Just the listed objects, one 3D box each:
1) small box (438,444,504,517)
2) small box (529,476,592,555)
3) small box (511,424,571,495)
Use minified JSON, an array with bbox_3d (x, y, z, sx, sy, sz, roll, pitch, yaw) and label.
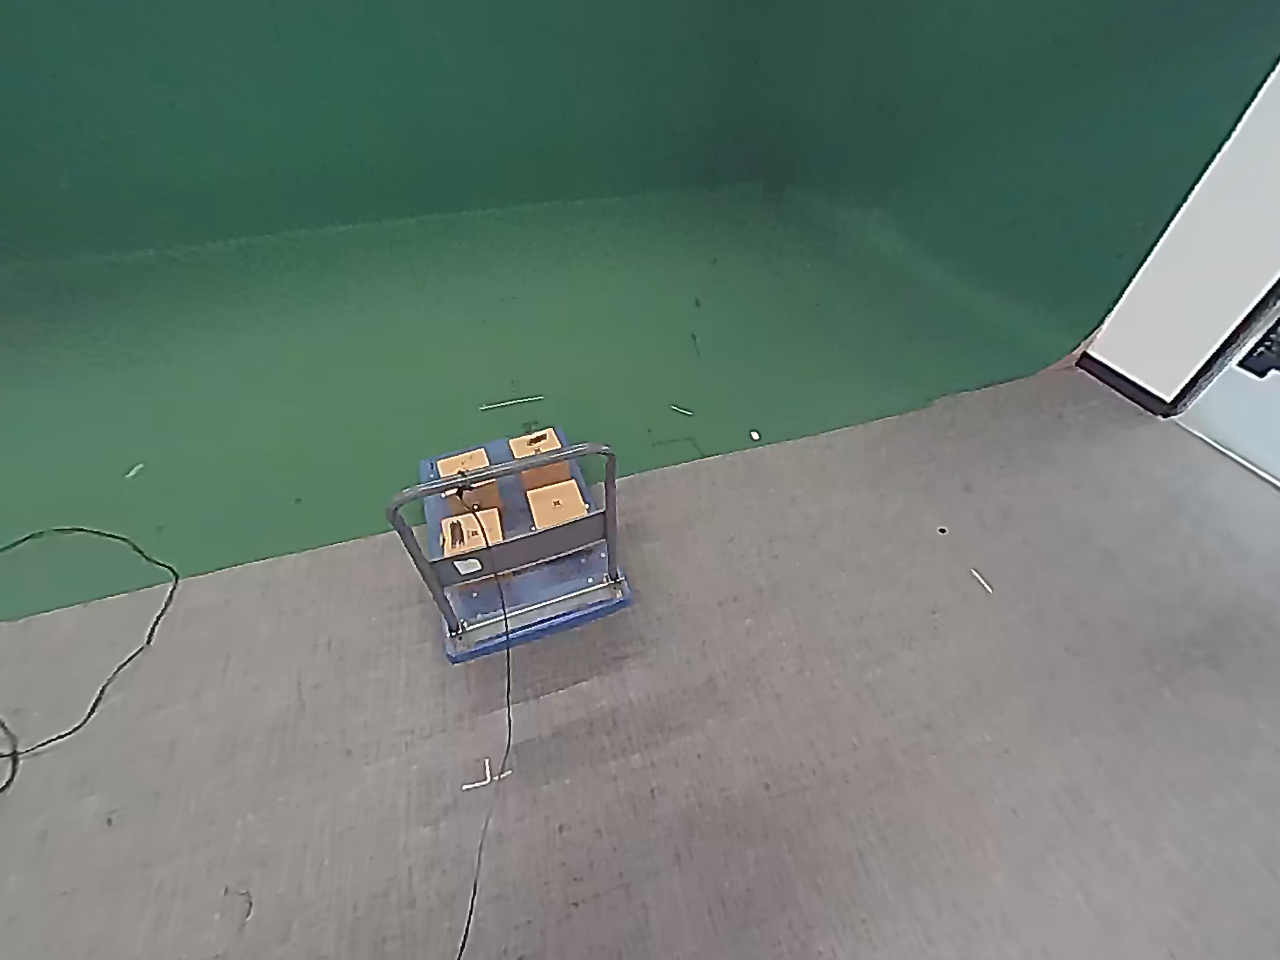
[{"bbox_3d":[-0.584,0.009,1.880,0.168,0.176,0.179,-18,49,-16],"label":"small box"},{"bbox_3d":[-0.262,0.118,1.778,0.168,0.176,0.179,-14,50,-13],"label":"small box"},{"bbox_3d":[-0.354,-0.068,1.950,0.168,0.176,0.179,-19,51,-15],"label":"small box"}]
